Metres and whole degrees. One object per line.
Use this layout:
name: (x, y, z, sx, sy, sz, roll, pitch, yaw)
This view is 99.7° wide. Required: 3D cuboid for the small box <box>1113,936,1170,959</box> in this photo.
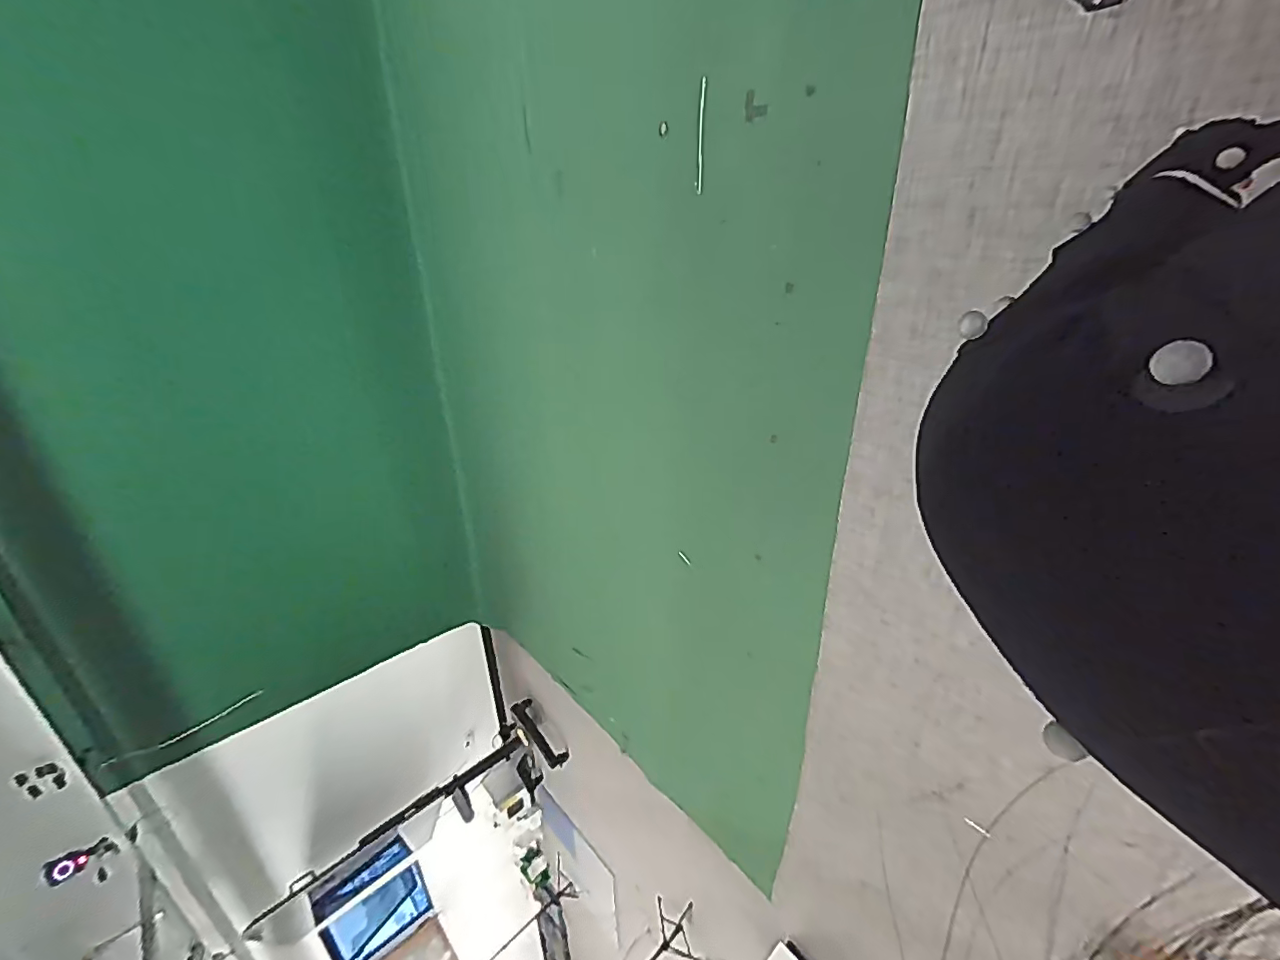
small box: (1.321, 1.348, 1.392, 0.168, 0.176, 0.179, 25, 125, 43)
